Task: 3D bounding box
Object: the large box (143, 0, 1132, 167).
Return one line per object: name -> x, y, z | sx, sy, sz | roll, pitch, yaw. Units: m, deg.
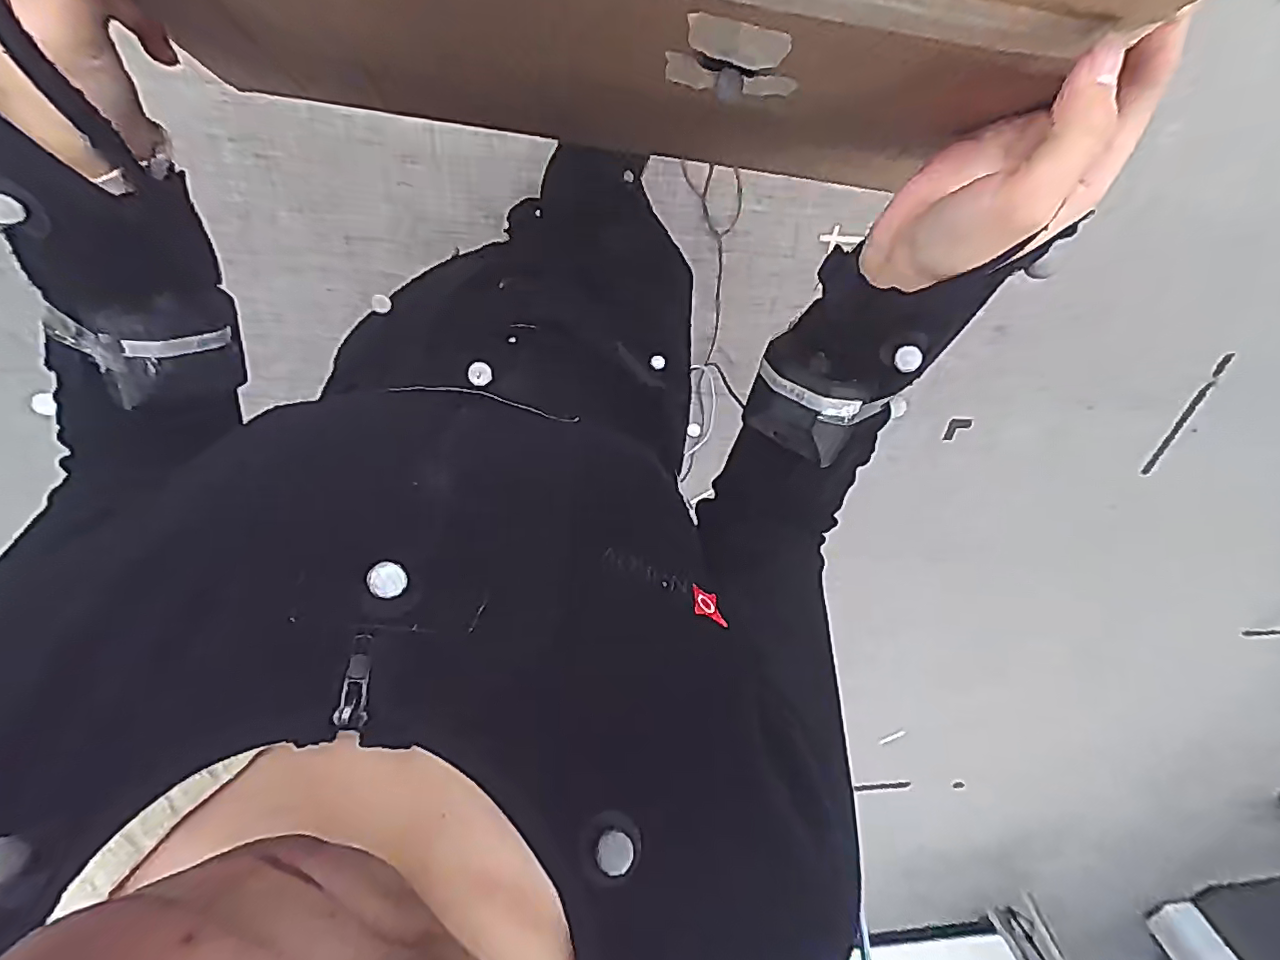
large box -> -0.011, -0.336, 0.155 | 0.408, 0.320, 0.320 | 5, 101, -4
